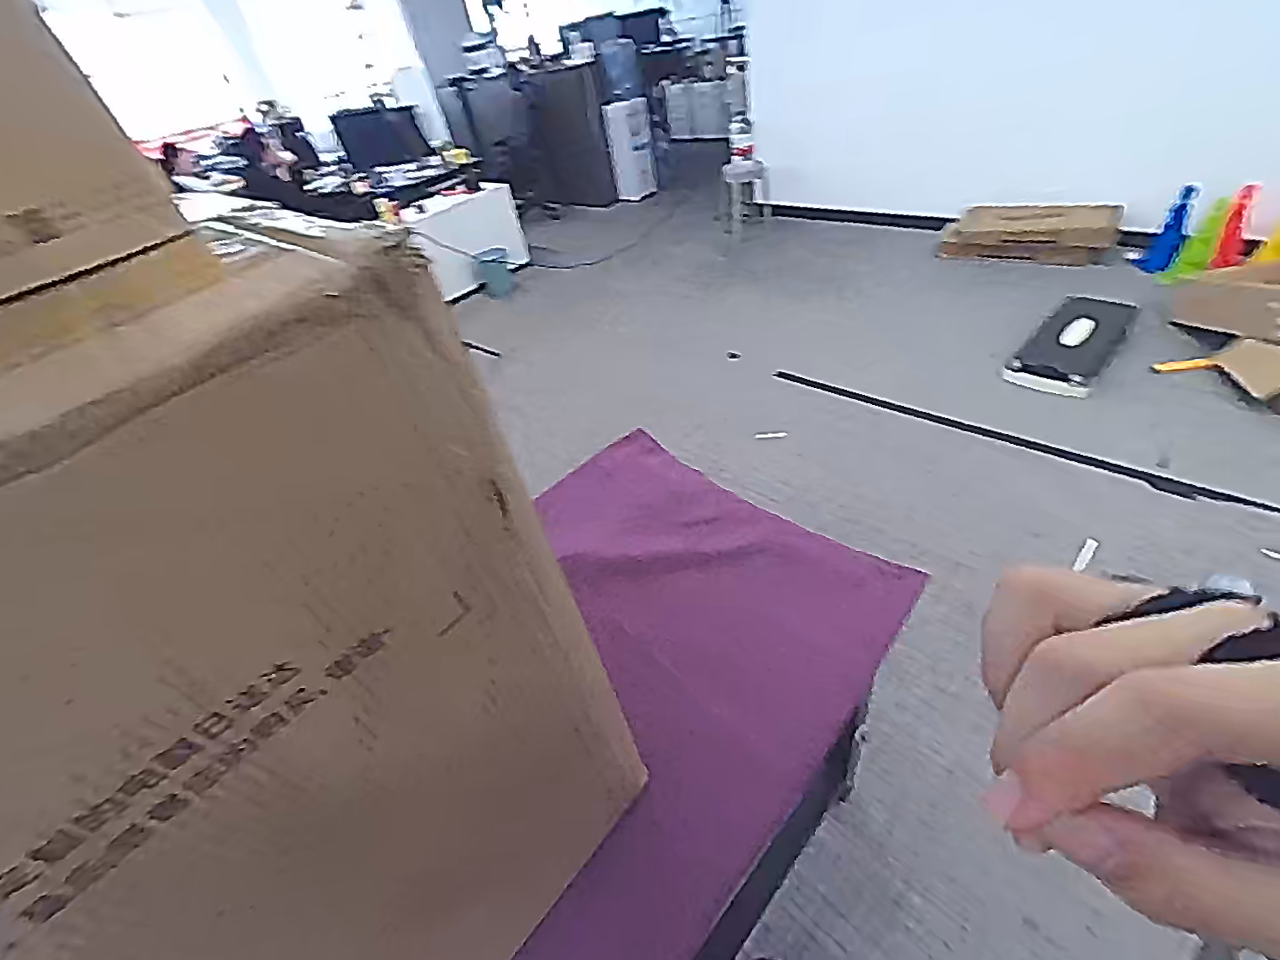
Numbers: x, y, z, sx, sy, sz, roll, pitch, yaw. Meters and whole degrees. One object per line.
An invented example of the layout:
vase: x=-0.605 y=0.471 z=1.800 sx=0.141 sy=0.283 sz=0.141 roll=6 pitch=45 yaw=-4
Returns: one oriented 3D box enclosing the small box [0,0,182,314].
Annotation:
small box: x=-0.380 y=-0.173 z=0.265 sx=0.179 sy=0.176 sz=0.168 roll=23 pitch=53 yaw=36
